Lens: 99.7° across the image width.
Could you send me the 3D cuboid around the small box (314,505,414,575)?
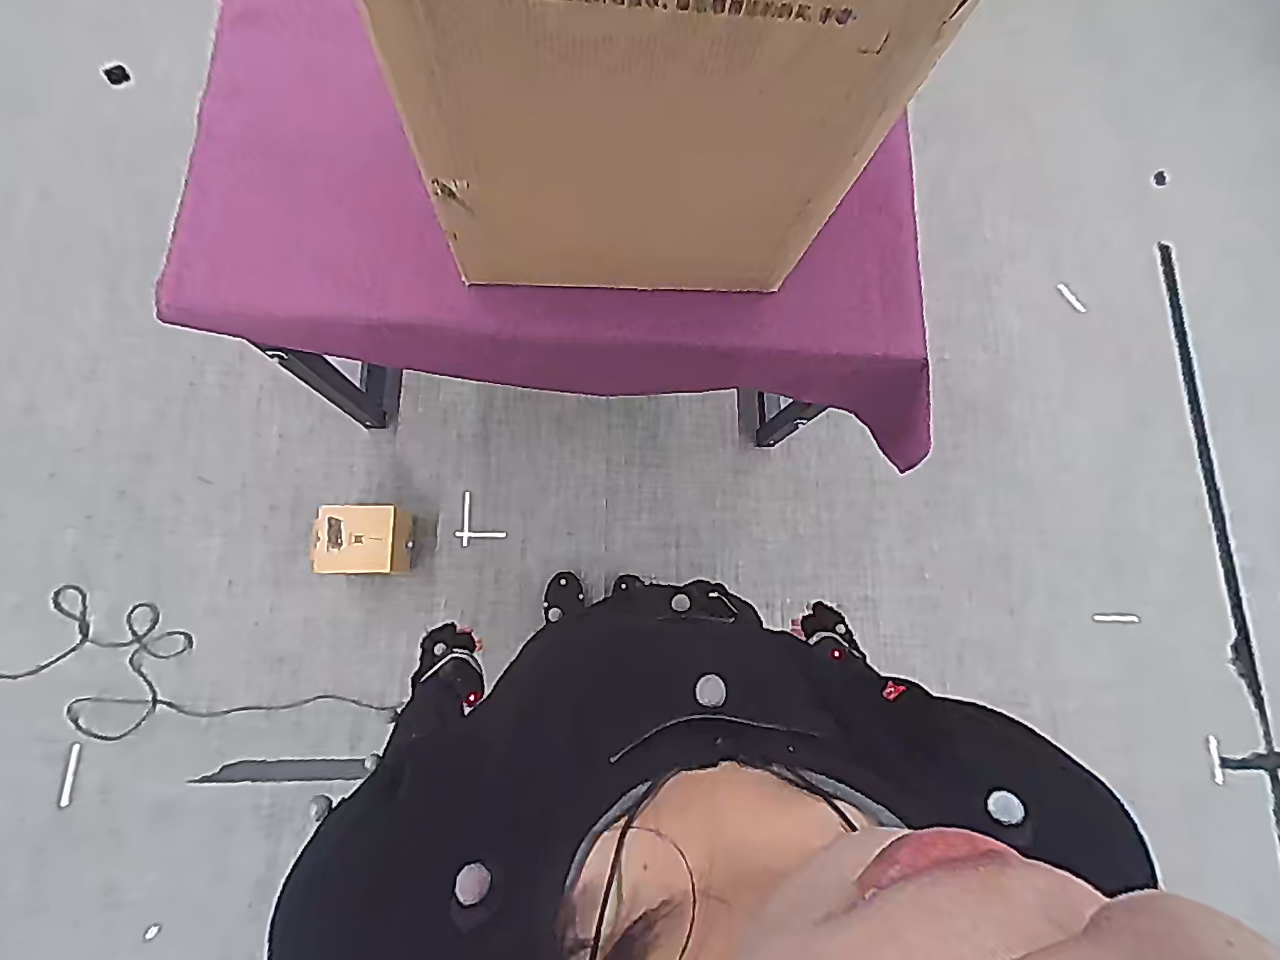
[{"bbox_3d":[-0.695,0.157,1.376,0.179,0.176,0.168,1,79,-8],"label":"small box"}]
